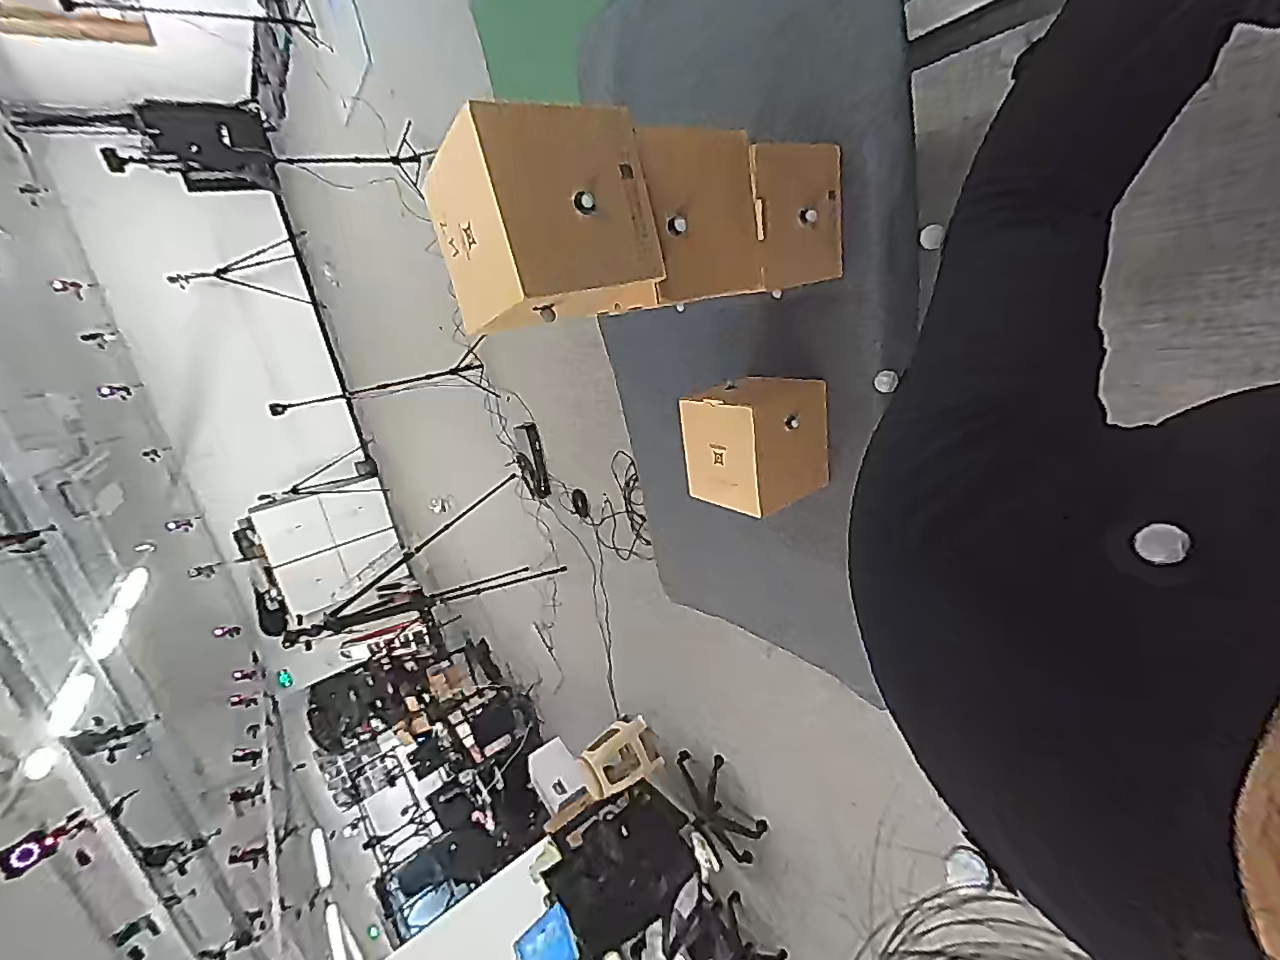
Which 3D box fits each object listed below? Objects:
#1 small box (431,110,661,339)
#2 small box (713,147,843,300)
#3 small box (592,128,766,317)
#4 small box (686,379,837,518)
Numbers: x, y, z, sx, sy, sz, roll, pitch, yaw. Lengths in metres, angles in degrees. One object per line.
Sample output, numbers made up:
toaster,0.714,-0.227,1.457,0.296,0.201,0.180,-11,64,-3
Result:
small box,-0.094,-0.262,0.574,0.179,0.176,0.168,3,111,57
small box,0.166,-0.351,0.754,0.179,0.176,0.168,17,123,52
small box,0.034,-0.308,0.668,0.168,0.176,0.179,16,122,53
small box,0.200,-0.063,0.880,0.168,0.176,0.179,18,124,53
